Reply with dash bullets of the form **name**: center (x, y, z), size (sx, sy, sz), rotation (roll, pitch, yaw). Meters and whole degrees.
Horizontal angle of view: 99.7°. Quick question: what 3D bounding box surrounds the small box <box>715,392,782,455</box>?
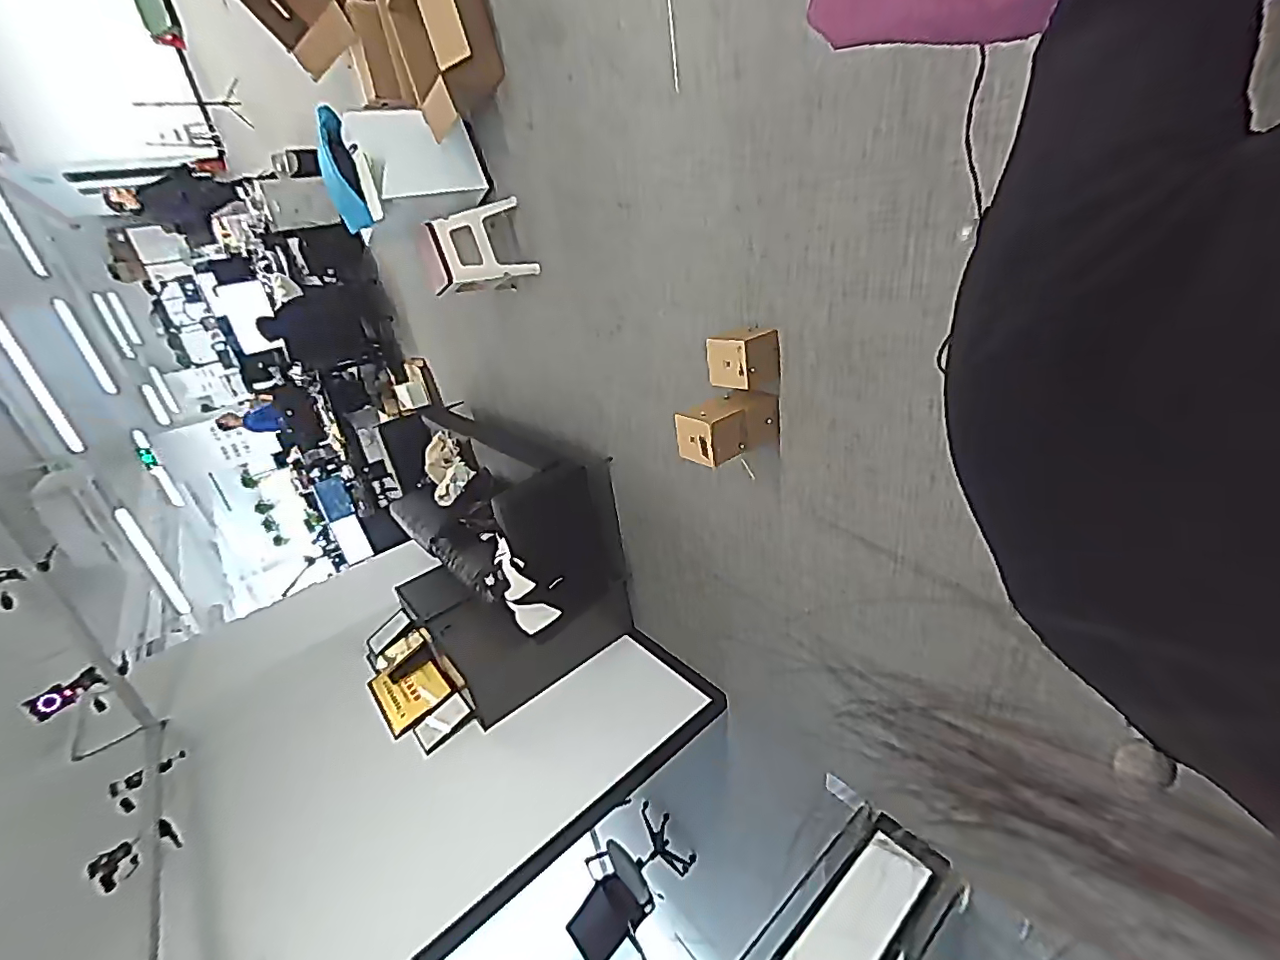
- **small box**: center (0.394, -0.214, 1.971), size (0.179, 0.176, 0.168), rotation (25, 132, 46)

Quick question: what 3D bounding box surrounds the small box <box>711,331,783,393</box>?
- **small box**: center (0.369, -0.413, 1.863), size (0.179, 0.176, 0.168), rotation (22, 130, 48)

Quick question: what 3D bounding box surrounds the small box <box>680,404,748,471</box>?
- **small box**: center (0.264, -0.155, 1.891), size (0.179, 0.176, 0.168), rotation (23, 131, 48)
